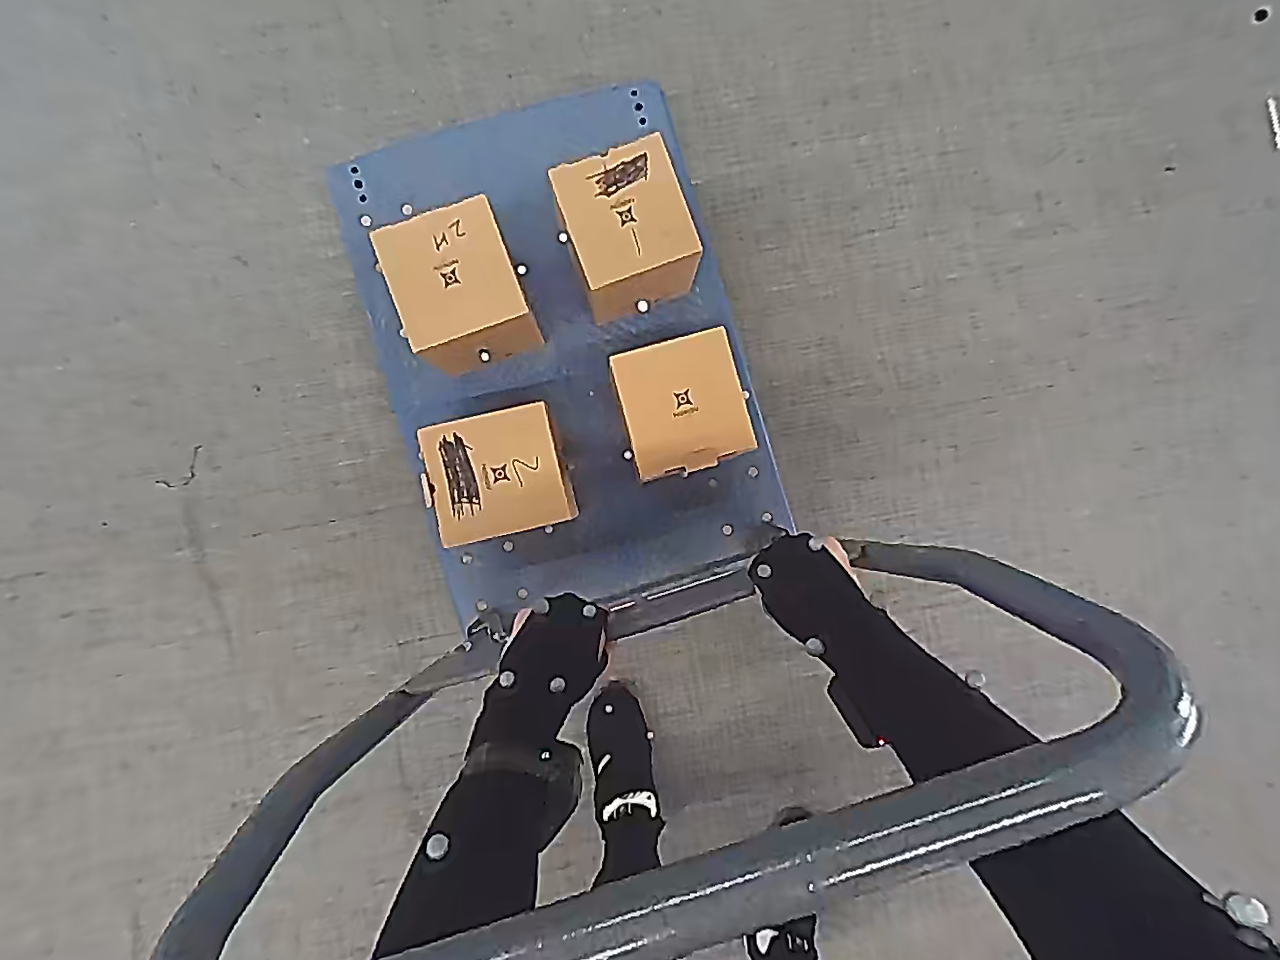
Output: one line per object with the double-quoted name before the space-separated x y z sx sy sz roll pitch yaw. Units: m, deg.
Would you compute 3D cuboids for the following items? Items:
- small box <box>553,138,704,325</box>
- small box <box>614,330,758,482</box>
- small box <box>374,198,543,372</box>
"small box" -0.019 -0.359 0.812 0.168 0.176 0.179 -20 91 -1
"small box" 0.058 -0.100 0.811 0.168 0.176 0.179 -15 90 -2
"small box" -0.255 -0.271 0.803 0.168 0.176 0.179 -20 89 -3
